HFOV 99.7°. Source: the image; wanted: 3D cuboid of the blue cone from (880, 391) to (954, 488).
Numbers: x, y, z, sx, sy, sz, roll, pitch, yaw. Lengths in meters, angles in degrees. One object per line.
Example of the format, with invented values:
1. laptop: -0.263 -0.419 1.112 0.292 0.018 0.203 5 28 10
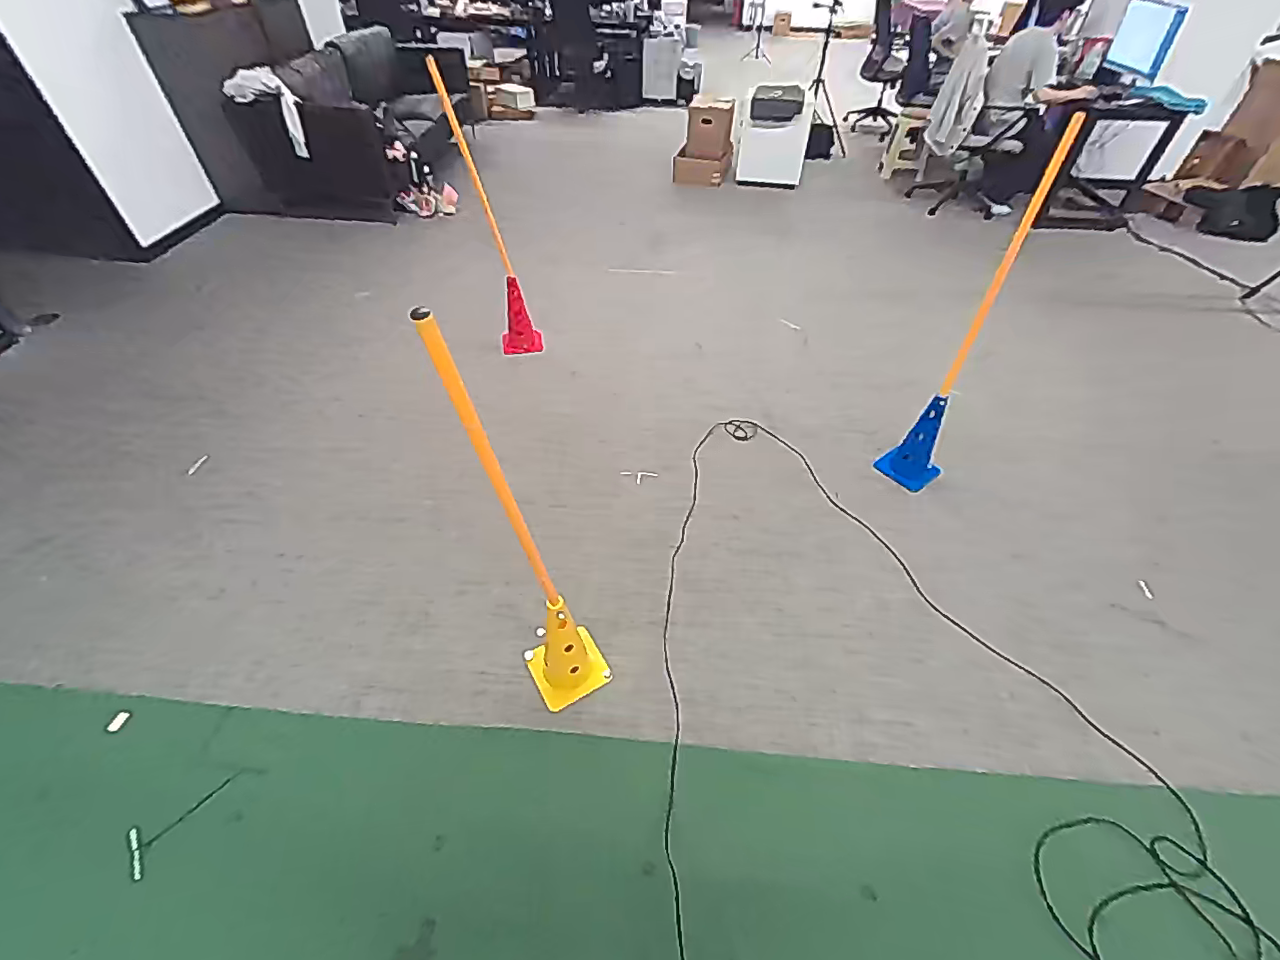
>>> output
1. blue cone: 1.067 -0.172 2.017 0.193 0.380 0.192 -30 52 -28
